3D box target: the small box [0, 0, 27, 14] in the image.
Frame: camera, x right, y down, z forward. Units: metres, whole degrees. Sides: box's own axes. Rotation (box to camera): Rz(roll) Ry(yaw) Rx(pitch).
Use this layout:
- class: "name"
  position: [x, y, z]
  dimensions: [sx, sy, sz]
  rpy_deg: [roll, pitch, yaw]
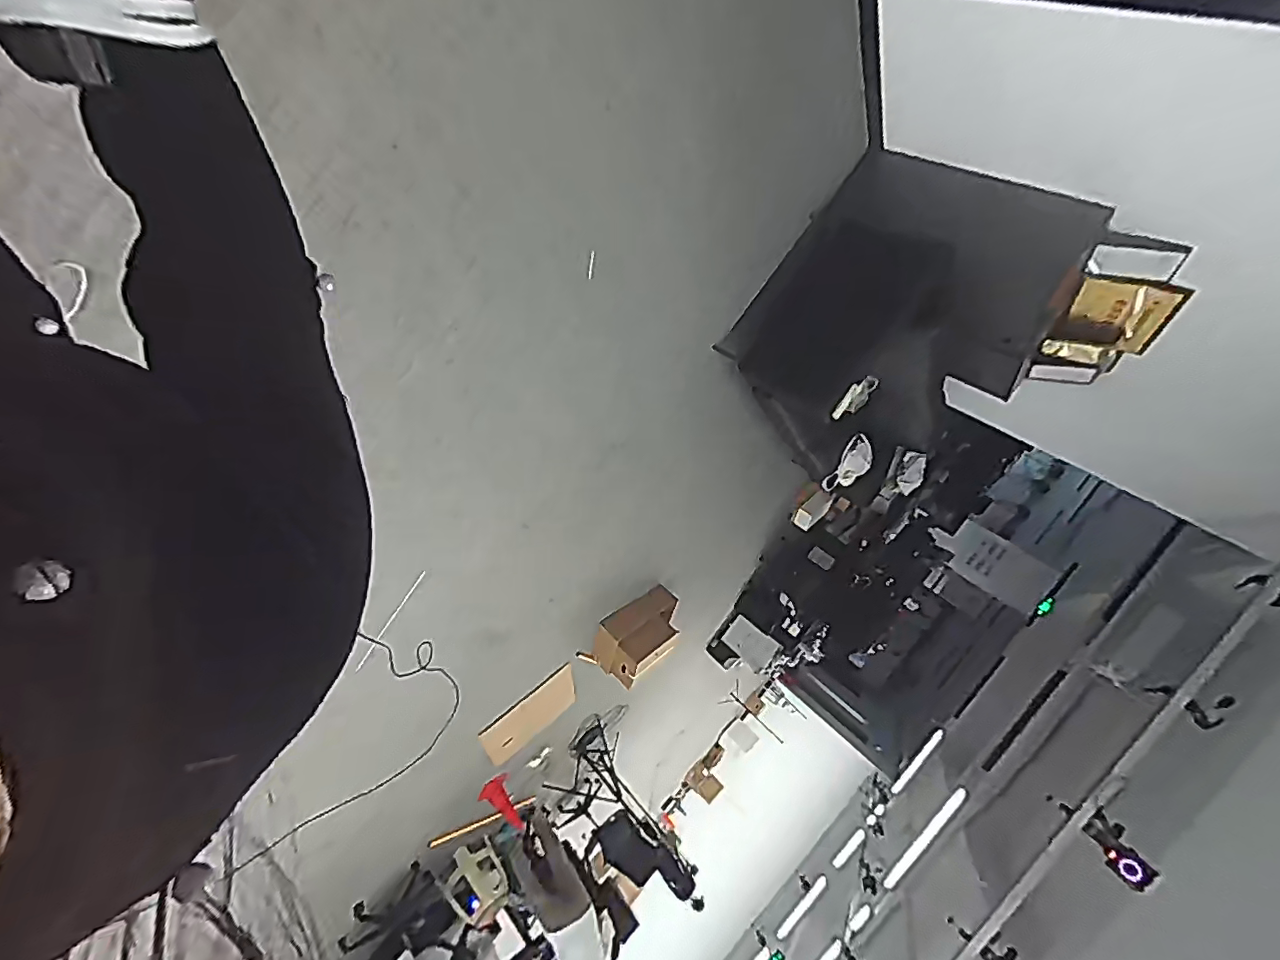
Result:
- class: "small box"
  position: [-0.669, -0.604, 0.515]
  dimensions: [0.179, 0.176, 0.168]
  rpy_deg: [-53, 151, -1]
